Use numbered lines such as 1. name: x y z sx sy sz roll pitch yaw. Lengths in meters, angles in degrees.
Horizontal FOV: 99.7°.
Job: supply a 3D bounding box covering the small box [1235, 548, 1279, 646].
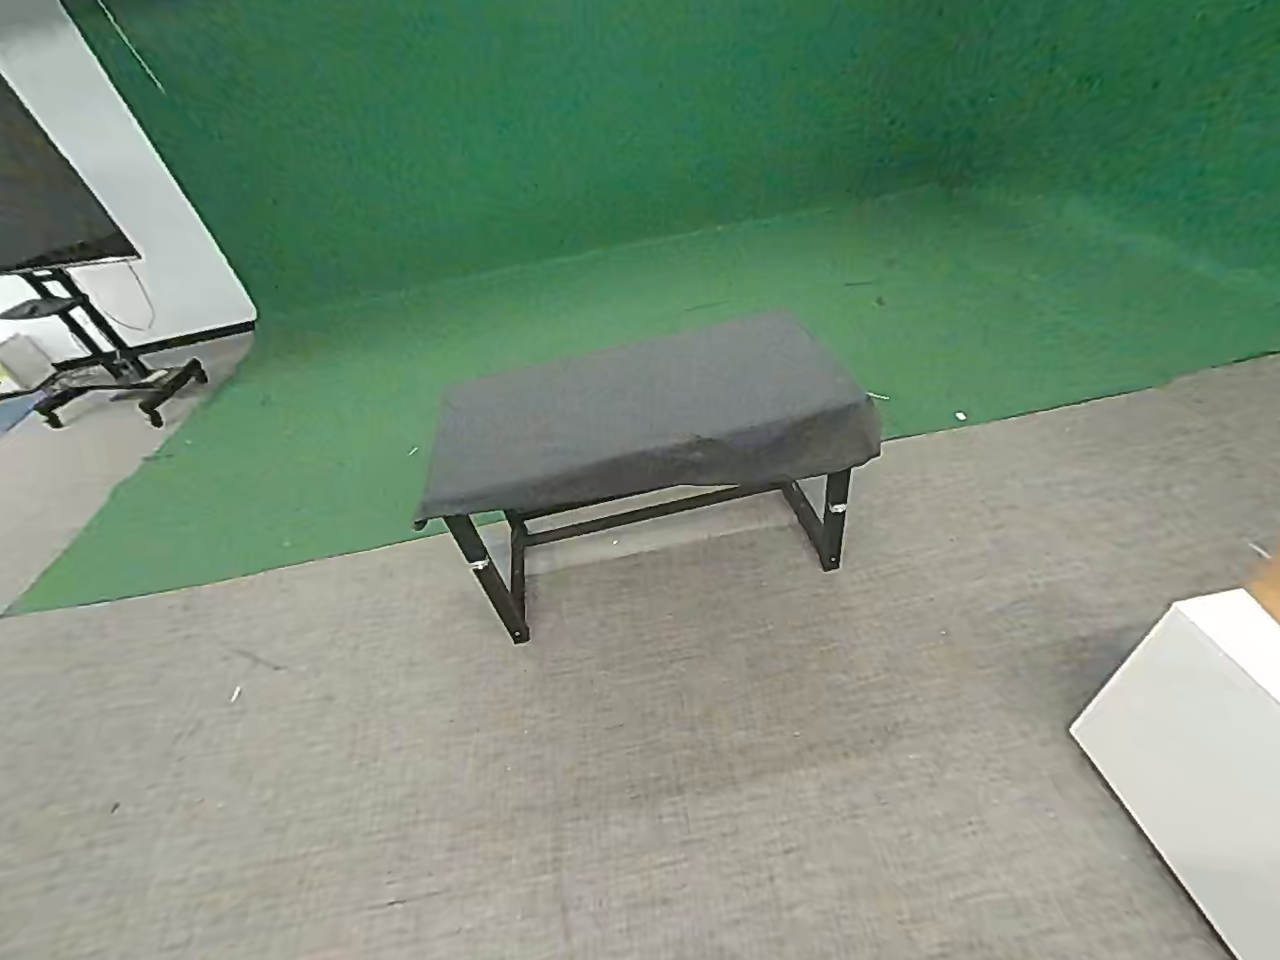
1. small box: 1.203 0.216 0.913 0.168 0.176 0.179 -5 40 5
